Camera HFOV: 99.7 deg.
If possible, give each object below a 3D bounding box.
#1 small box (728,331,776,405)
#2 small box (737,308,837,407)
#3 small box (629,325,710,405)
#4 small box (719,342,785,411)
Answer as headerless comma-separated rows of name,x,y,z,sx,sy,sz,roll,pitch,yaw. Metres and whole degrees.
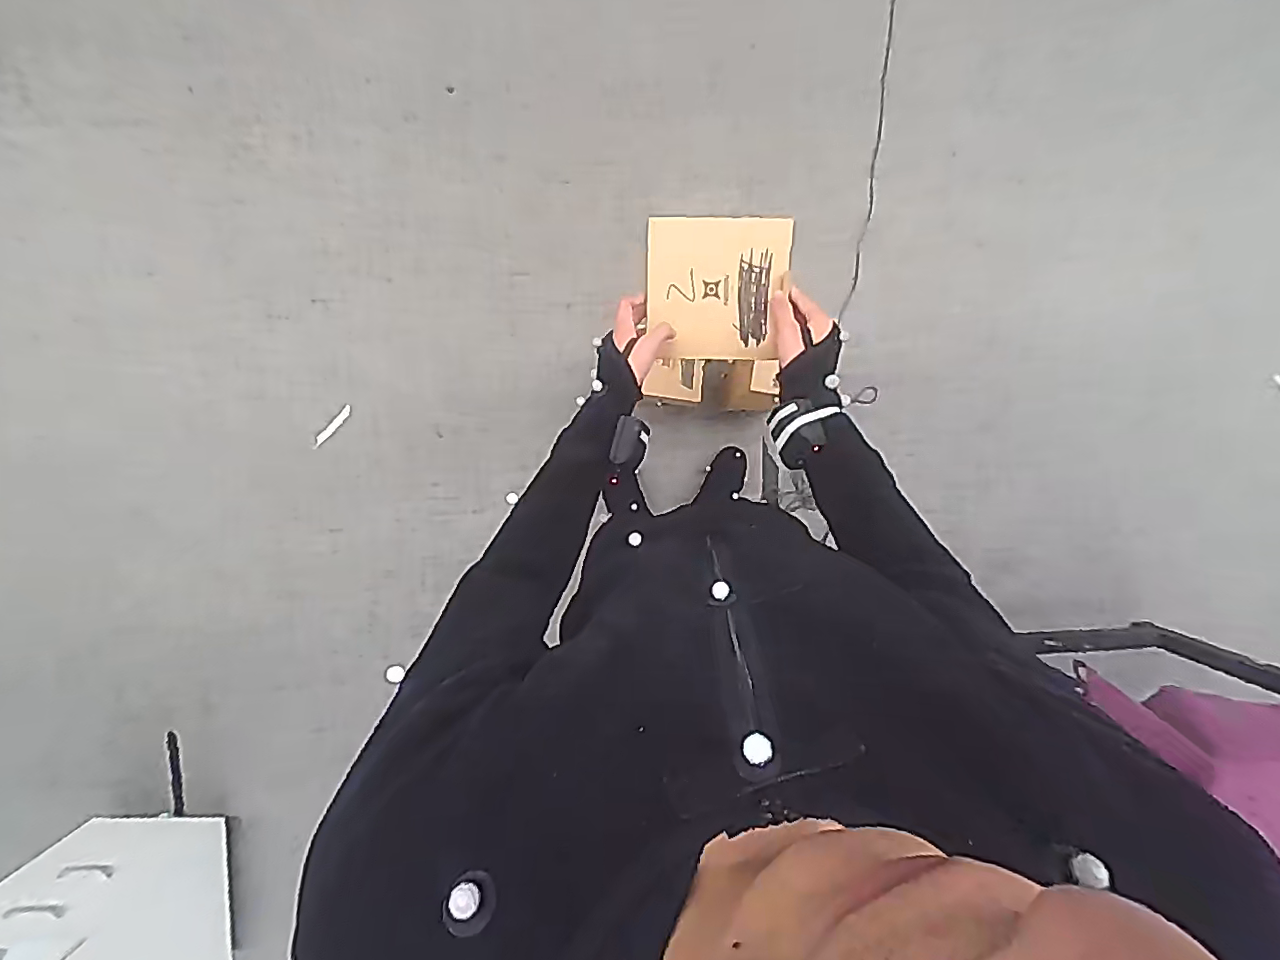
small box,0.323,-0.281,1.386,0.179,0.176,0.168,1,93,0
small box,0.323,-0.269,1.221,0.168,0.176,0.179,8,92,-1
small box,0.070,-0.285,1.376,0.179,0.176,0.168,8,93,-1
small box,0.319,-0.292,1.547,0.168,0.176,0.179,-1,94,-1
